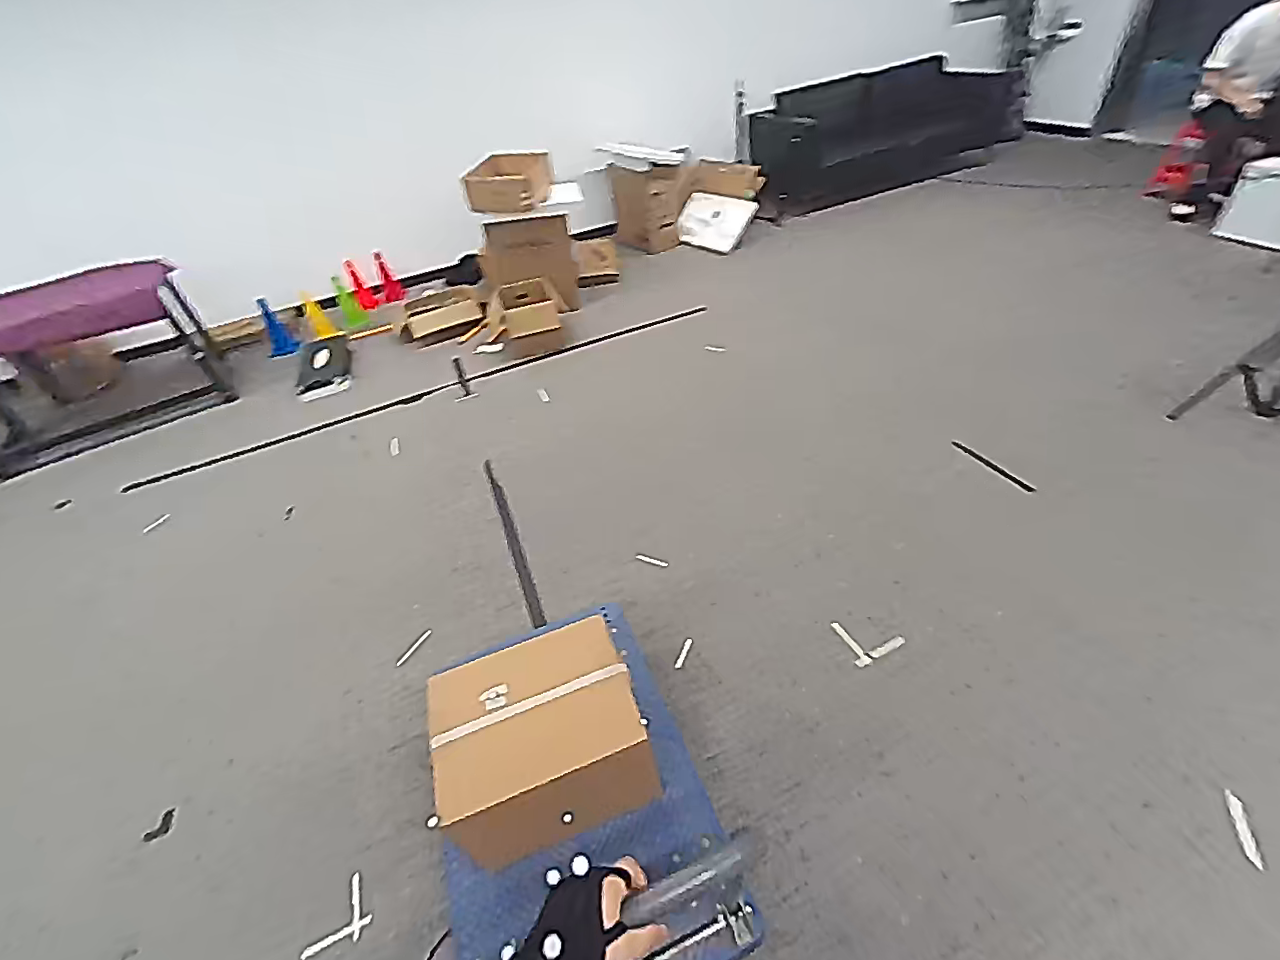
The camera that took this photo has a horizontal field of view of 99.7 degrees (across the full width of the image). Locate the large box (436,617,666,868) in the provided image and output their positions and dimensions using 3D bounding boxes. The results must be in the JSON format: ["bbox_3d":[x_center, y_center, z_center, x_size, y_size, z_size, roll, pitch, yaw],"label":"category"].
[{"bbox_3d":[-0.191,0.580,1.212,0.408,0.320,0.320,-19,41,-10],"label":"large box"}]
